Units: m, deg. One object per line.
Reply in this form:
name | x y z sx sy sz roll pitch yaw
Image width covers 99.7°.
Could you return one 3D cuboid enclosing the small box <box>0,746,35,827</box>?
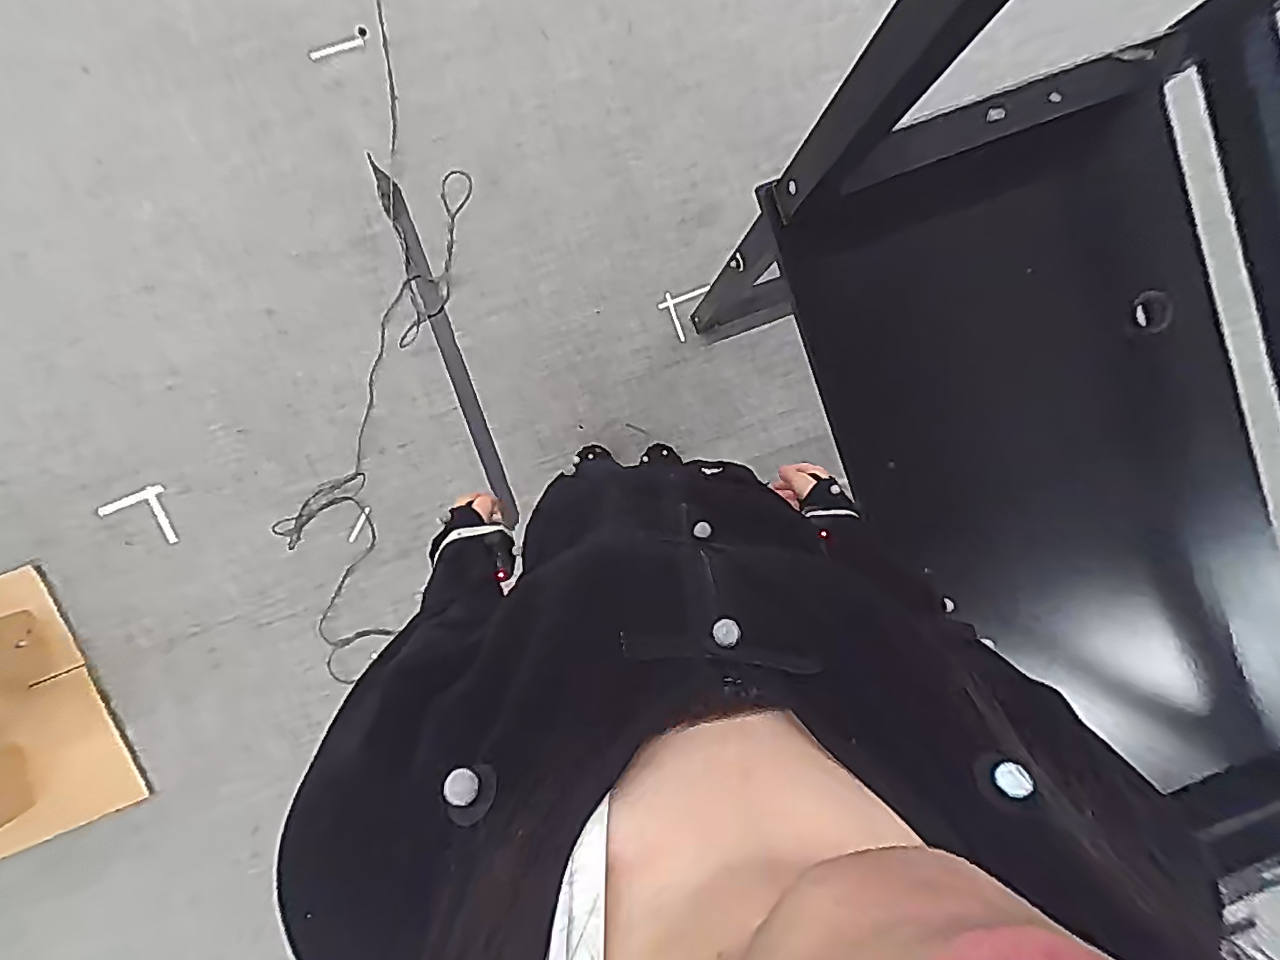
small box | -1.698 0.807 1.354 0.168 0.176 0.179 -12 96 -3
